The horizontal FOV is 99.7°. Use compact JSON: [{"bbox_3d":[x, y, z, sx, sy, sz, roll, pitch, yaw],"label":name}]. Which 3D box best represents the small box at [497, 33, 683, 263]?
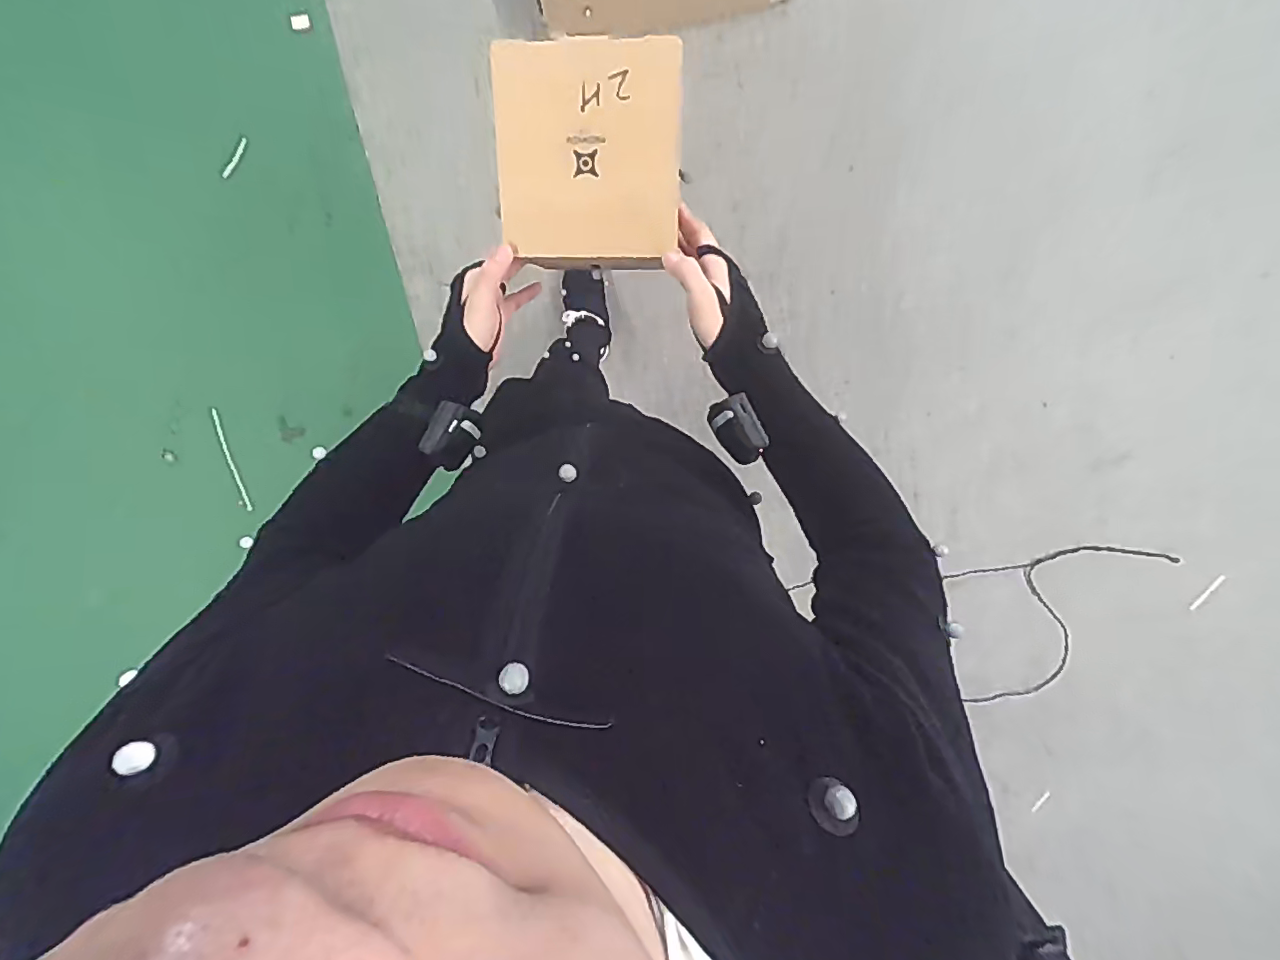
[{"bbox_3d":[-0.041,-0.327,0.567,0.168,0.176,0.179,2,108,3],"label":"small box"}]
